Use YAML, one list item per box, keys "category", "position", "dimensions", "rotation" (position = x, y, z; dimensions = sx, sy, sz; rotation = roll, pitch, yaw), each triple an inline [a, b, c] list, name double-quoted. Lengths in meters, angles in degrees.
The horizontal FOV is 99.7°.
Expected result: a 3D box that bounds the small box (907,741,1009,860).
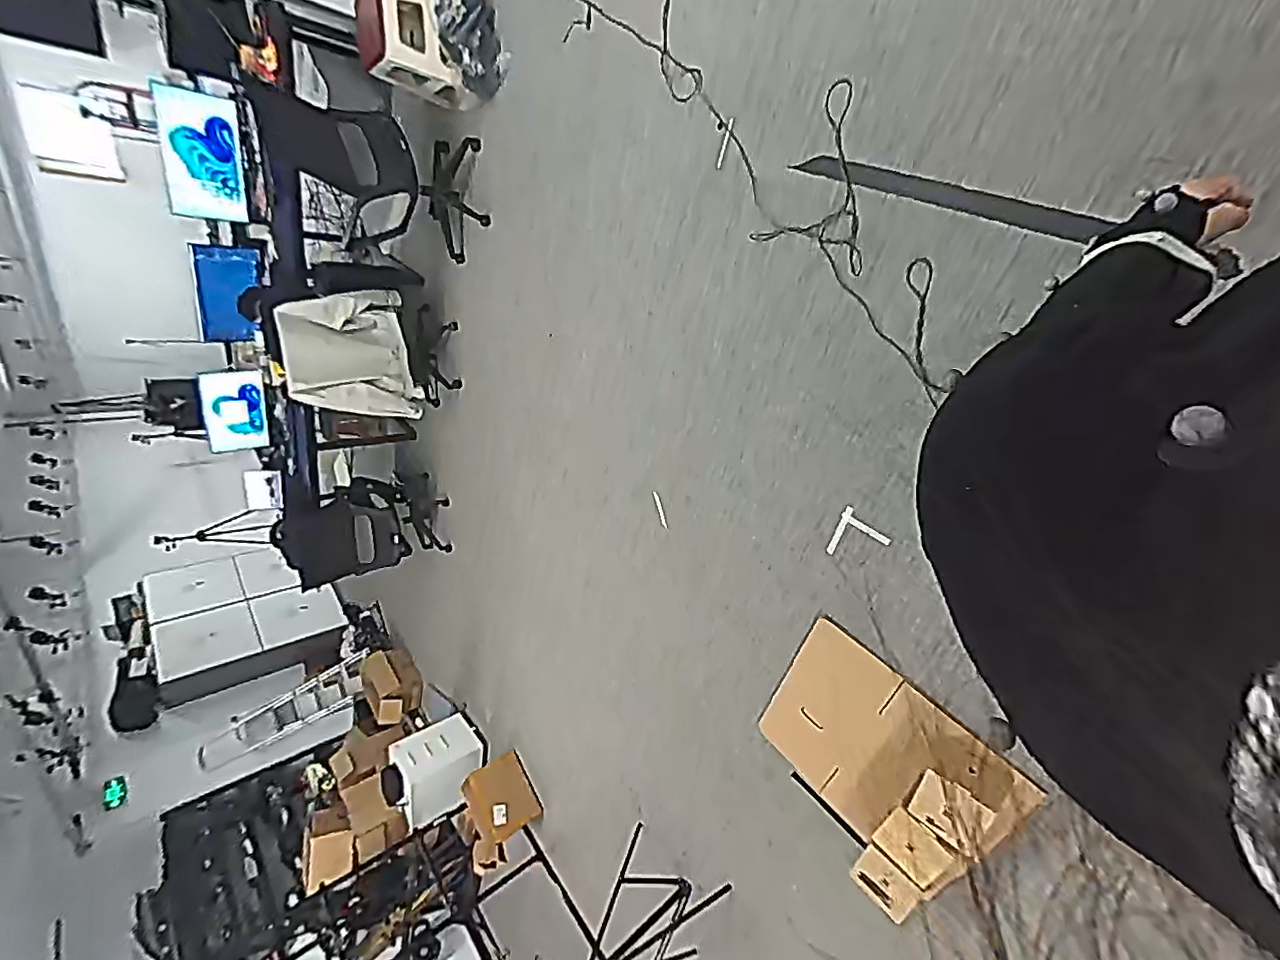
- category: "small box"
  position: [0.845, 0.837, 1.433]
  dimensions: [0.168, 0.176, 0.179]
  rotation: [29, 120, 39]
